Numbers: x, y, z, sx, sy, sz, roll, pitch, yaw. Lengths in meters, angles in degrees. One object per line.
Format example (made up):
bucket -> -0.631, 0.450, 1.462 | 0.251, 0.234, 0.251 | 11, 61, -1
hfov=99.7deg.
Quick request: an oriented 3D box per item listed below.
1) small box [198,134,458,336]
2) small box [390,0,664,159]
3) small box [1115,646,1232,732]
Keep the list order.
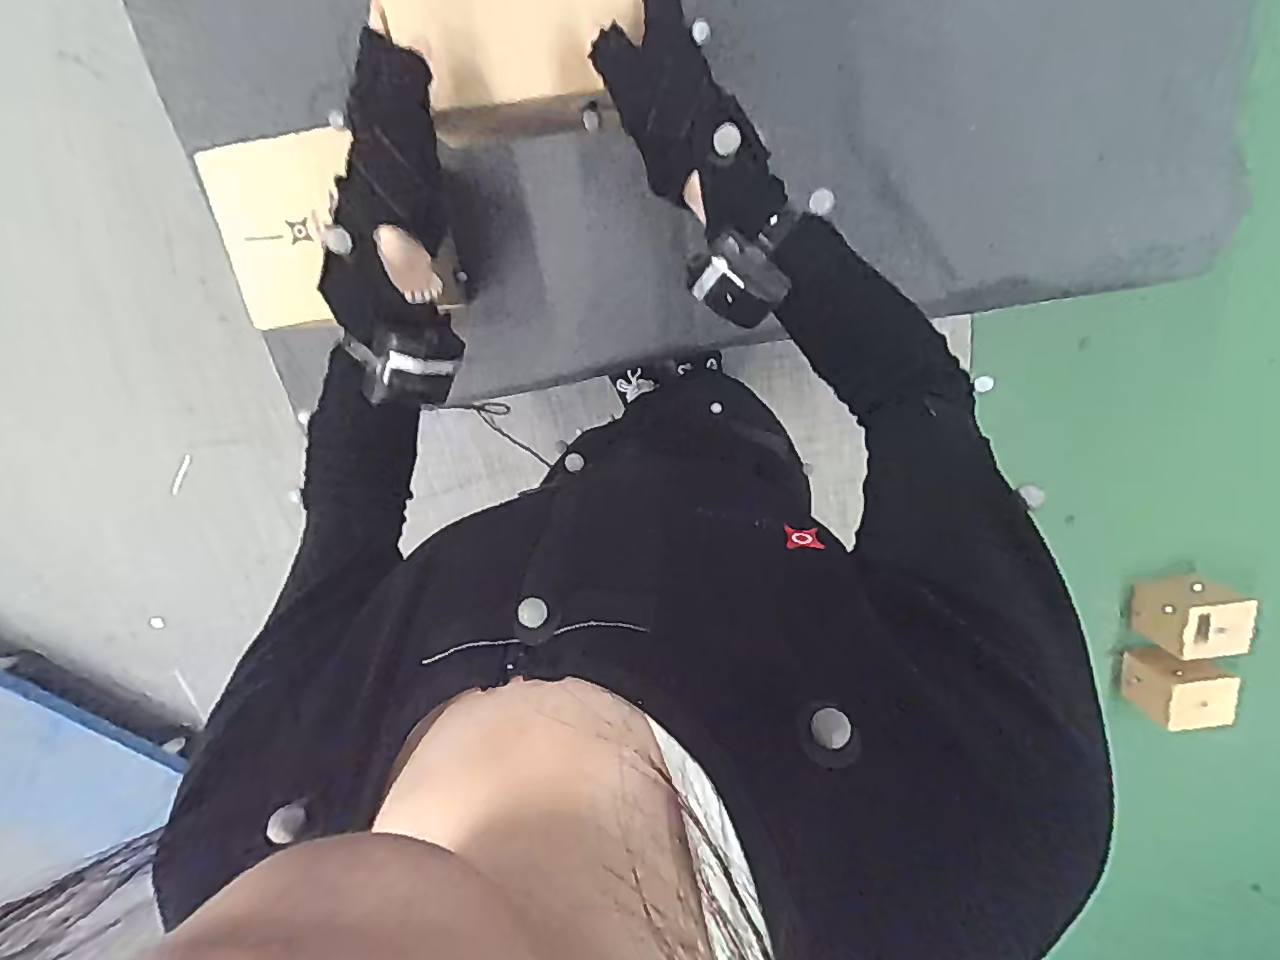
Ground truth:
small box -> -0.322, -0.260, 0.606 | 0.179, 0.176, 0.168 | -8, 107, 4
small box -> -0.087, -0.361, 0.422 | 0.179, 0.176, 0.168 | -9, 115, -3
small box -> 1.578, 0.615, 1.609 | 0.179, 0.176, 0.168 | -10, 107, 5
